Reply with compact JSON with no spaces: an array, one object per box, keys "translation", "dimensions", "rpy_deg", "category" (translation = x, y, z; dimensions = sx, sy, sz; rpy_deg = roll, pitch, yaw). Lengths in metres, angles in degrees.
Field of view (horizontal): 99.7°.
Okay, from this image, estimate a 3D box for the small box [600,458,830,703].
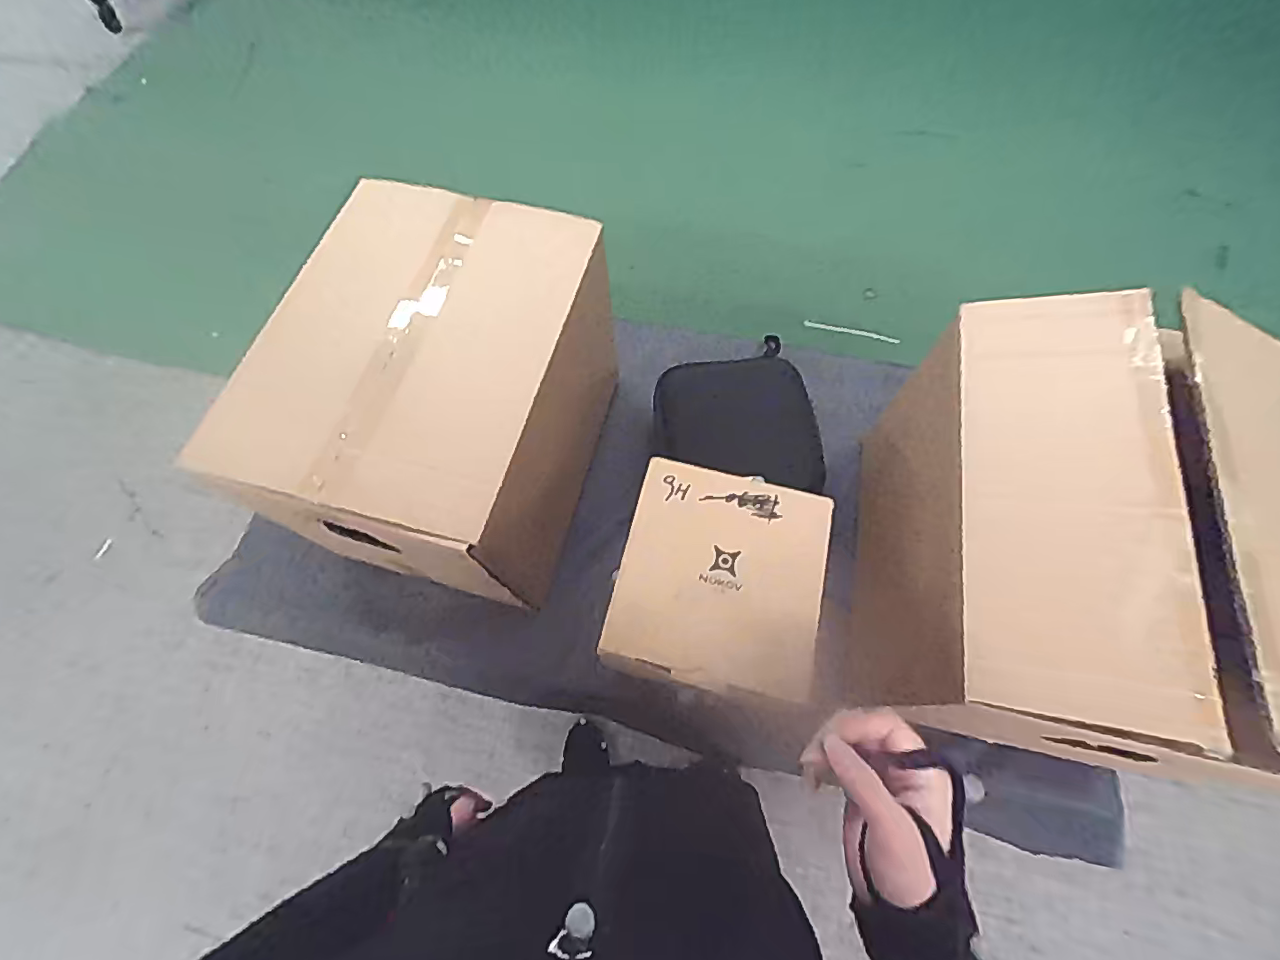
[{"translation":[0.068,0.104,0.527],"dimensions":[0.168,0.176,0.179],"rpy_deg":[13,70,5],"category":"small box"}]
